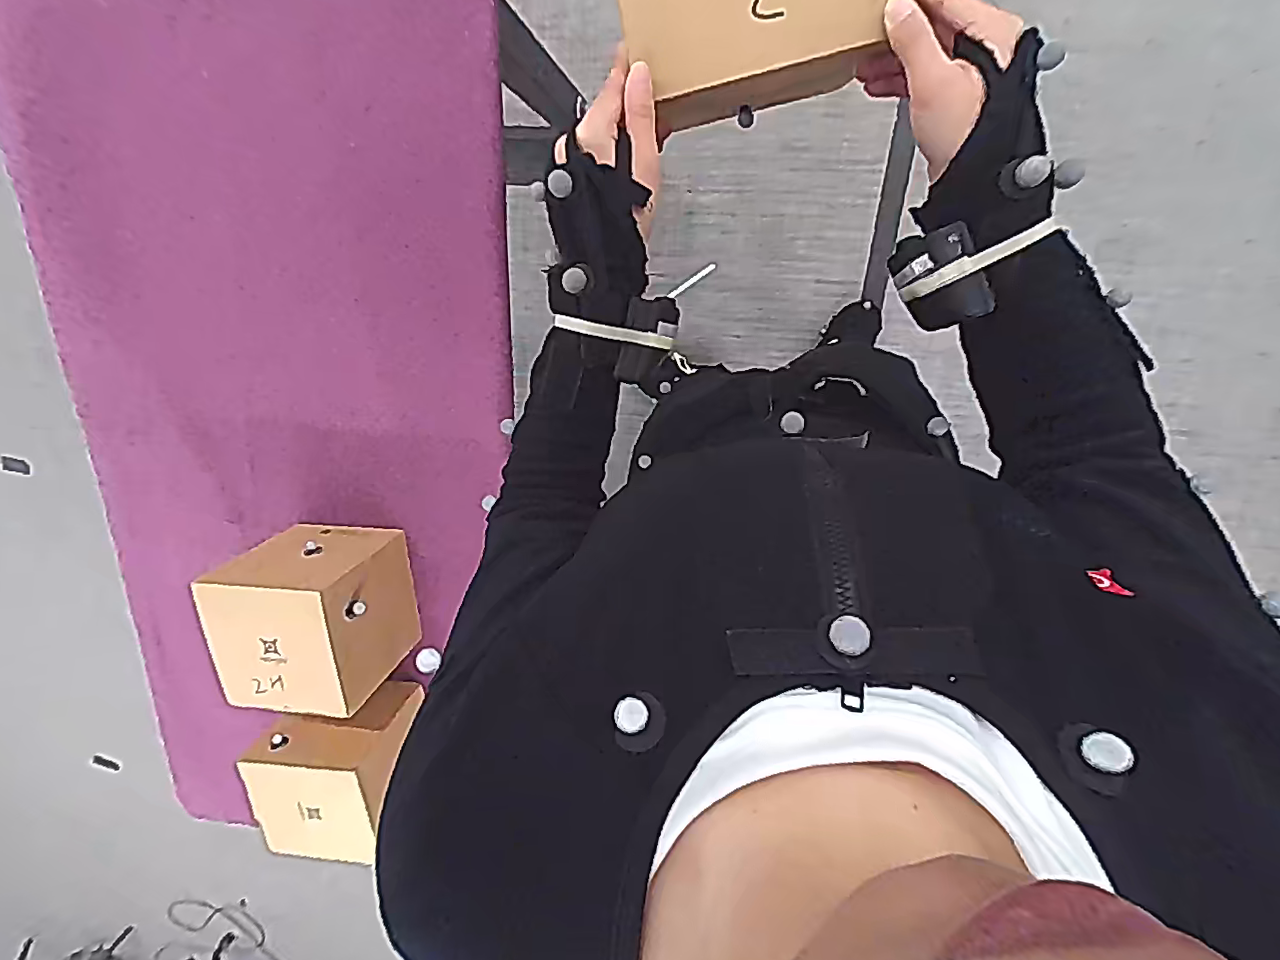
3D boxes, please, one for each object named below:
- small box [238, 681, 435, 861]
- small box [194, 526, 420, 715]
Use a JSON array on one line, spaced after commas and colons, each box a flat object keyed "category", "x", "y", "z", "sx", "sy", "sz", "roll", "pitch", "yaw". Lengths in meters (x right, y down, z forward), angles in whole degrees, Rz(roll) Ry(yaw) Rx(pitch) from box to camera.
[{"category": "small box", "x": -0.420, "y": 0.409, "z": 0.787, "sx": 0.179, "sy": 0.176, "sz": 0.168, "roll": -1, "pitch": 109, "yaw": 10}, {"category": "small box", "x": -0.411, "y": 0.169, "z": 0.699, "sx": 0.168, "sy": 0.176, "sz": 0.179, "roll": 2, "pitch": 109, "yaw": 10}]
